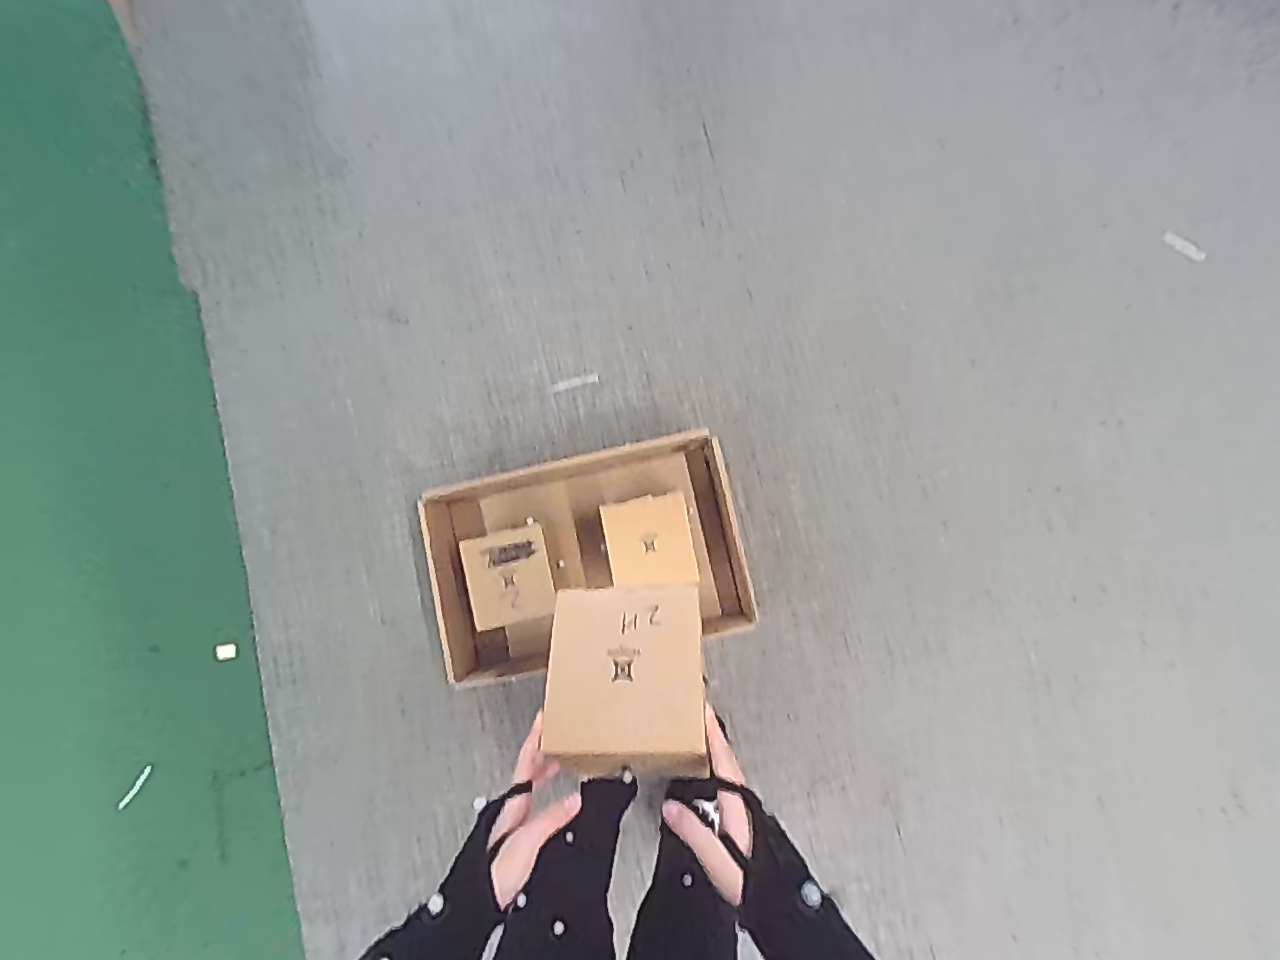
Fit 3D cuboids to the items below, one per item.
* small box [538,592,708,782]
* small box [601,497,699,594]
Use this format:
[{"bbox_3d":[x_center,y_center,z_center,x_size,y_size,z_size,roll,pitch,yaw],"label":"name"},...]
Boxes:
[{"bbox_3d":[-0.007,0.246,0.632,0.168,0.176,0.179,-2,54,7],"label":"small box"},{"bbox_3d":[0.025,0.136,1.112,0.168,0.176,0.179,-12,84,3],"label":"small box"}]
